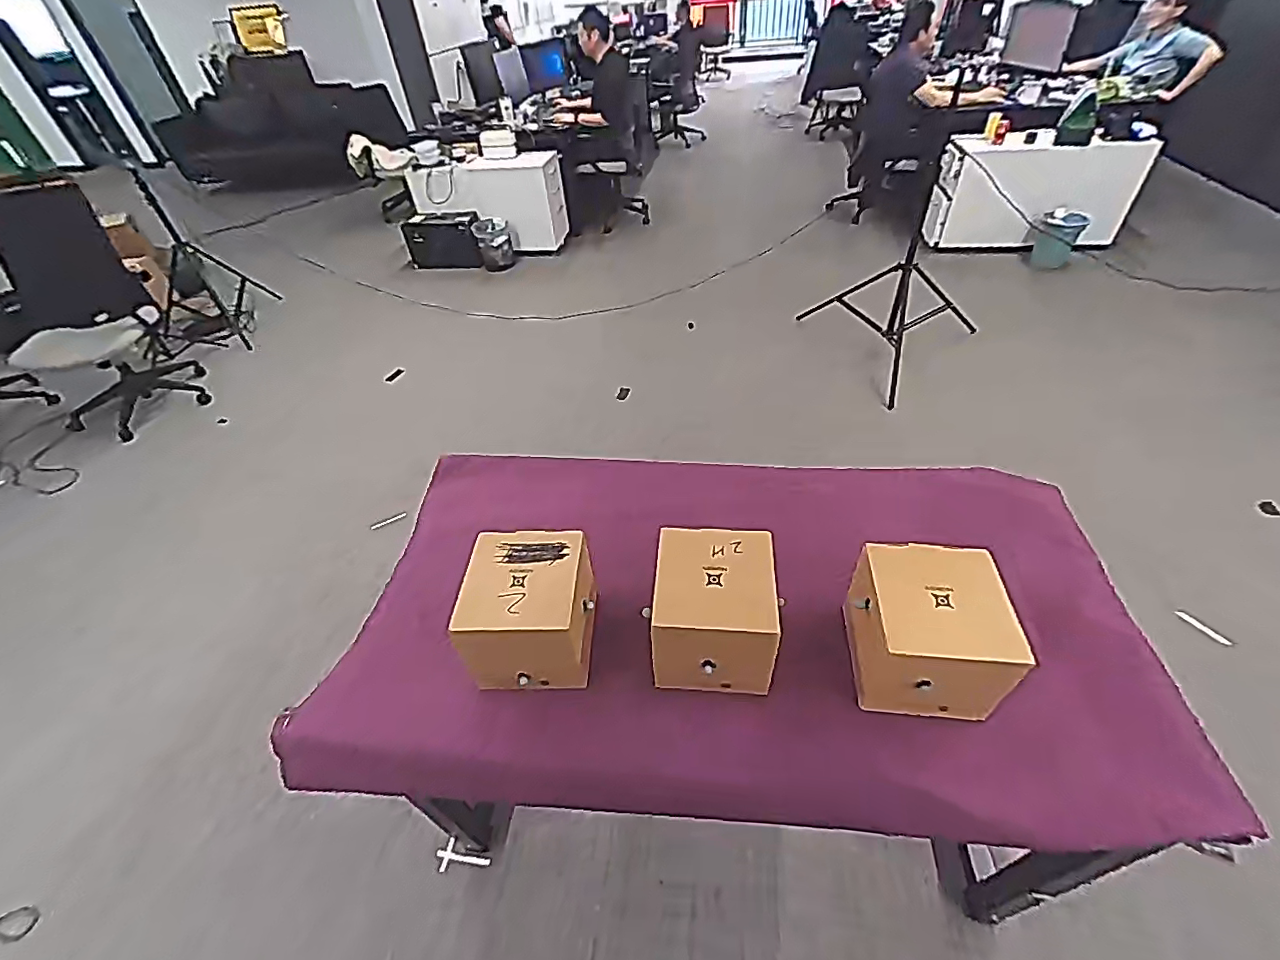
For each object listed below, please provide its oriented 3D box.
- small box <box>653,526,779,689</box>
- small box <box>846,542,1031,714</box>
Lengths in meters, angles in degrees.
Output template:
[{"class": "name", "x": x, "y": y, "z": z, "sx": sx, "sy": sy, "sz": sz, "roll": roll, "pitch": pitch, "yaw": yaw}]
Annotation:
[{"class": "small box", "x": 0.112, "y": 0.190, "z": 0.807, "sx": 0.168, "sy": 0.176, "sz": 0.179, "roll": 2, "pitch": 42, "yaw": 6}, {"class": "small box", "x": 0.399, "y": 0.209, "z": 0.761, "sx": 0.168, "sy": 0.176, "sz": 0.179, "roll": 2, "pitch": 44, "yaw": 8}]
